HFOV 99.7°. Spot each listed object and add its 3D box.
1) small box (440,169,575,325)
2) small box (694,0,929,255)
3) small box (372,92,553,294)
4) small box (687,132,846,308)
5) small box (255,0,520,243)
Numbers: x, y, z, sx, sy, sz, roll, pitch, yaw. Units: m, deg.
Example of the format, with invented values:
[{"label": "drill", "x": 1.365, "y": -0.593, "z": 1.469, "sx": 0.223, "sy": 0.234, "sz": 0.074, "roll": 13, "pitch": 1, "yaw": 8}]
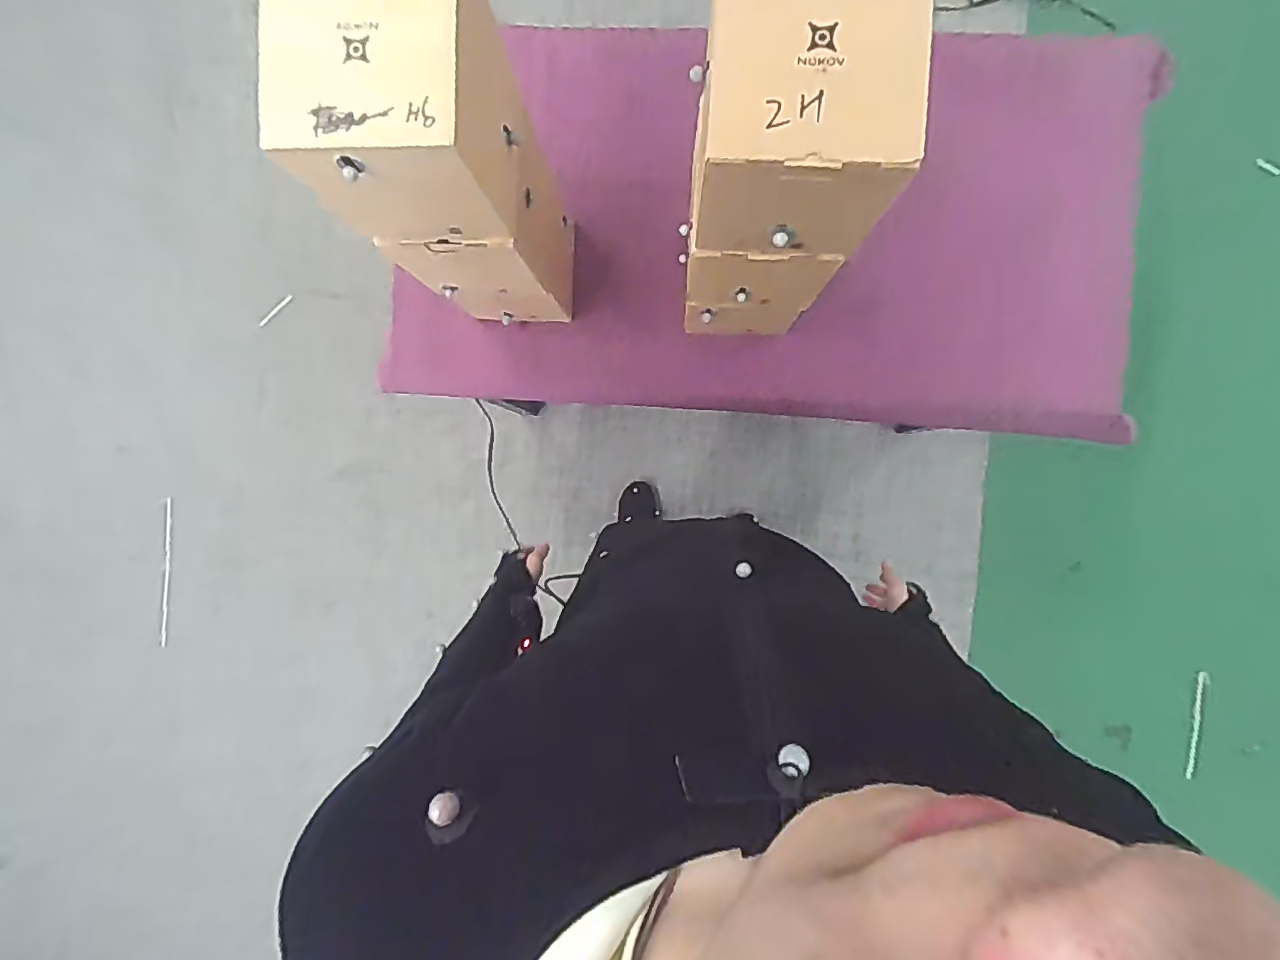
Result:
[{"label": "small box", "x": -0.198, "y": -0.355, "z": 0.842, "sx": 0.168, "sy": 0.176, "sz": 0.179, "roll": 3, "pitch": 91, "yaw": 4}, {"label": "small box", "x": 0.138, "y": -0.329, "z": 0.491, "sx": 0.168, "sy": 0.176, "sz": 0.179, "roll": 4, "pitch": 91, "yaw": 4}, {"label": "small box", "x": -0.209, "y": -0.345, "z": 0.678, "sx": 0.168, "sy": 0.176, "sz": 0.179, "roll": 2, "pitch": 89, "yaw": 4}, {"label": "small box", "x": 0.145, "y": -0.324, "z": 0.656, "sx": 0.168, "sy": 0.176, "sz": 0.179, "roll": 3, "pitch": 91, "yaw": 4}, {"label": "small box", "x": -0.220, "y": -0.350, "z": 0.514, "sx": 0.168, "sy": 0.176, "sz": 0.179, "roll": 2, "pitch": 89, "yaw": 6}]
